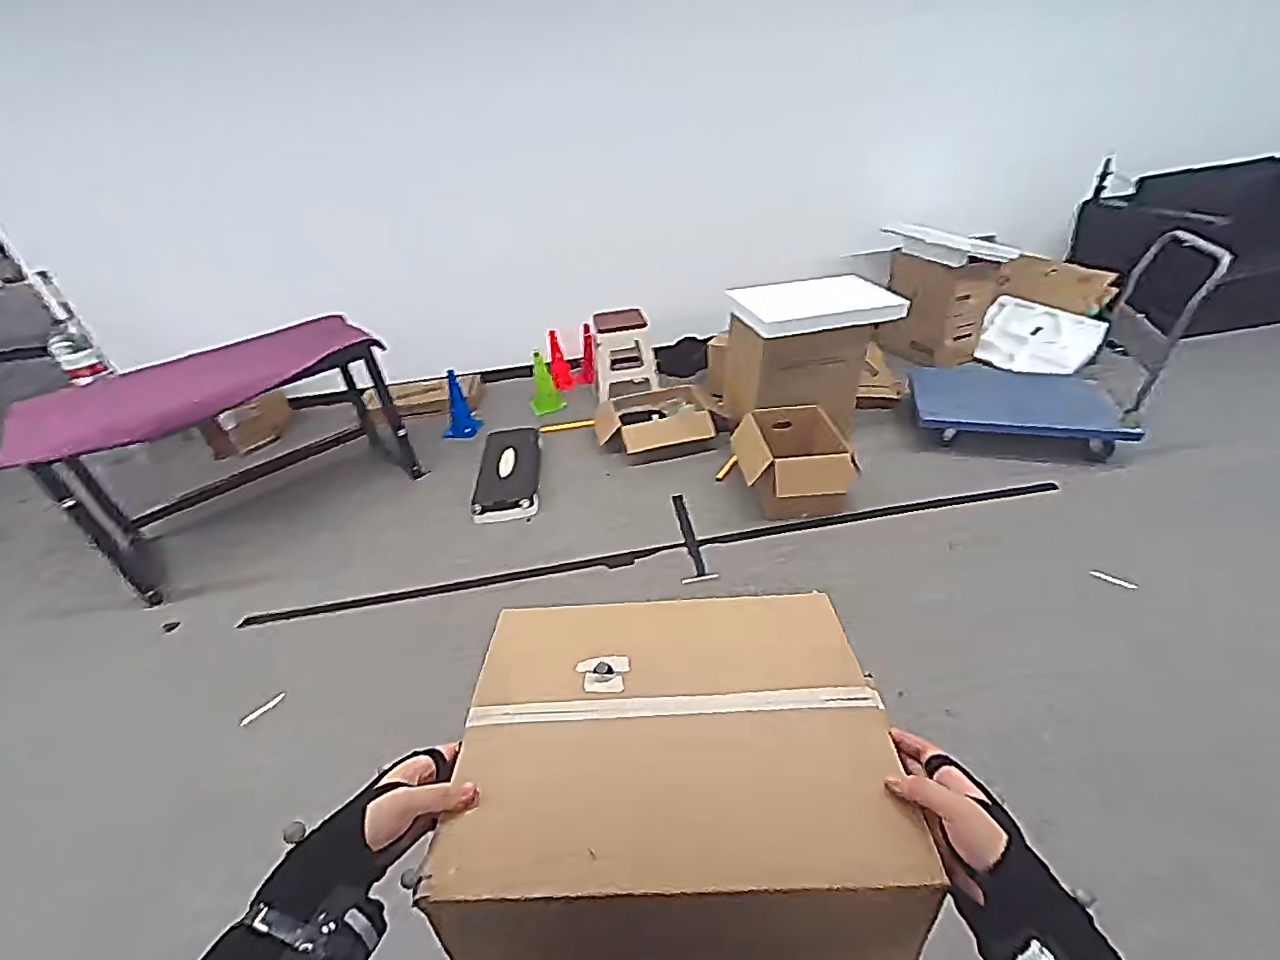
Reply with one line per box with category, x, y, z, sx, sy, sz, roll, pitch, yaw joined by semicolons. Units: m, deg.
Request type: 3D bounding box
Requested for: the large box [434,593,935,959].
large box;0.047;0.363;0.624;0.408;0.320;0.320;-5;29;3
